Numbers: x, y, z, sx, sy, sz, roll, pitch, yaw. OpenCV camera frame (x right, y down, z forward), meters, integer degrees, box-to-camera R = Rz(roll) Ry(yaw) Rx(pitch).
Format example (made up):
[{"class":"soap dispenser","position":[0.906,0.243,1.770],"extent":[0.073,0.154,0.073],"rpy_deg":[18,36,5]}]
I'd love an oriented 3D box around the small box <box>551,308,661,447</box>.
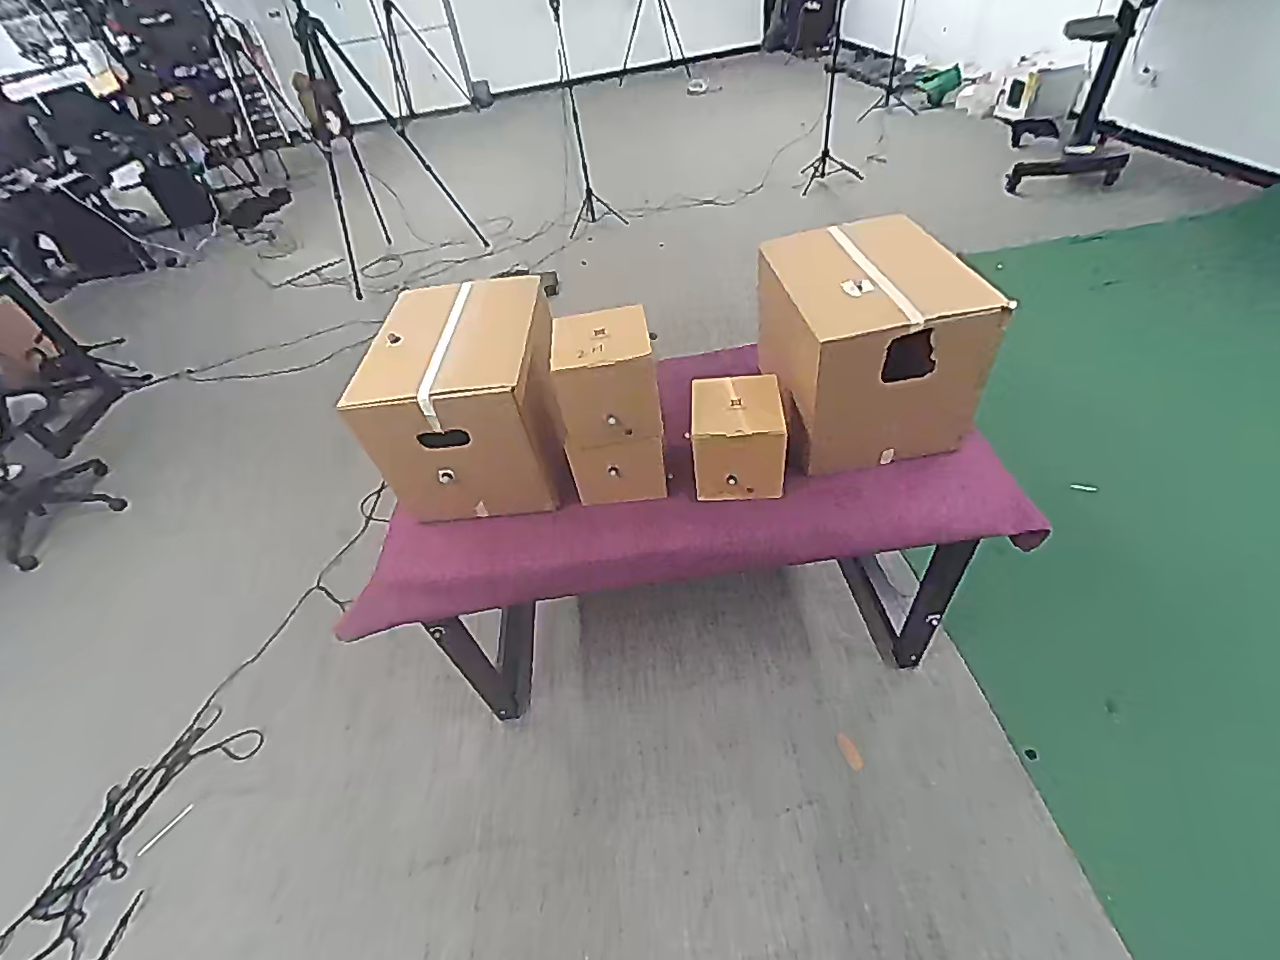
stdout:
[{"class":"small box","position":[-0.057,-0.183,0.971],"extent":[0.168,0.176,0.179],"rpy_deg":[-9,45,2]}]

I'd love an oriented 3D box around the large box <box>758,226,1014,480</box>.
[{"class":"large box","position":[0.443,-0.264,1.102],"extent":[0.320,0.320,0.408],"rpy_deg":[-11,45,3]}]
